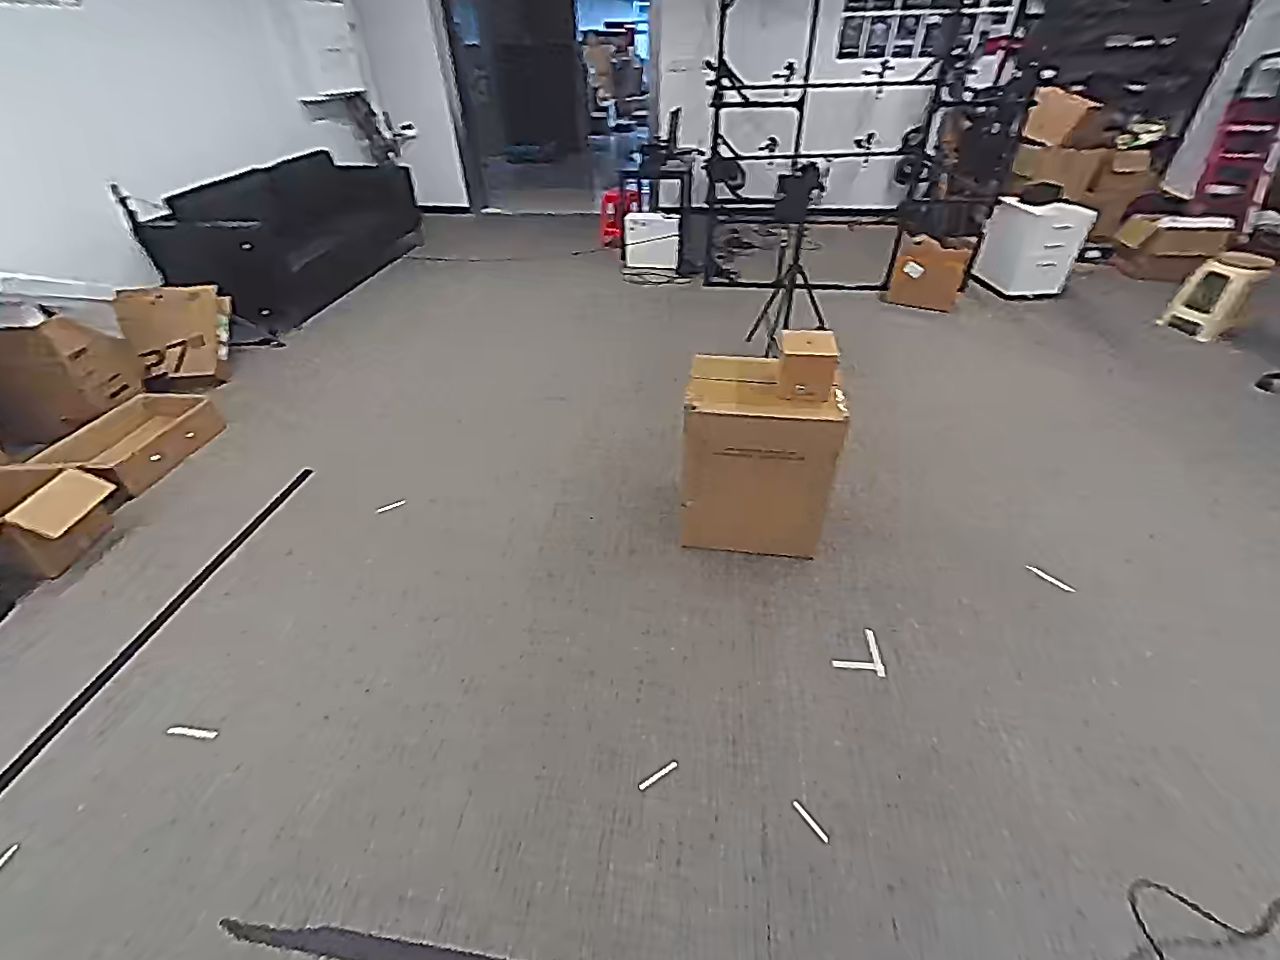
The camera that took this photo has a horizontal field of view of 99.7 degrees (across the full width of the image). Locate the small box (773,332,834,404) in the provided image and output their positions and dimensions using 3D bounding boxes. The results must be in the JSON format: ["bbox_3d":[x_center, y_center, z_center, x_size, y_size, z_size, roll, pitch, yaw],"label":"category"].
[{"bbox_3d":[0.531,-0.371,1.782,0.168,0.176,0.179,3,41,9],"label":"small box"}]
